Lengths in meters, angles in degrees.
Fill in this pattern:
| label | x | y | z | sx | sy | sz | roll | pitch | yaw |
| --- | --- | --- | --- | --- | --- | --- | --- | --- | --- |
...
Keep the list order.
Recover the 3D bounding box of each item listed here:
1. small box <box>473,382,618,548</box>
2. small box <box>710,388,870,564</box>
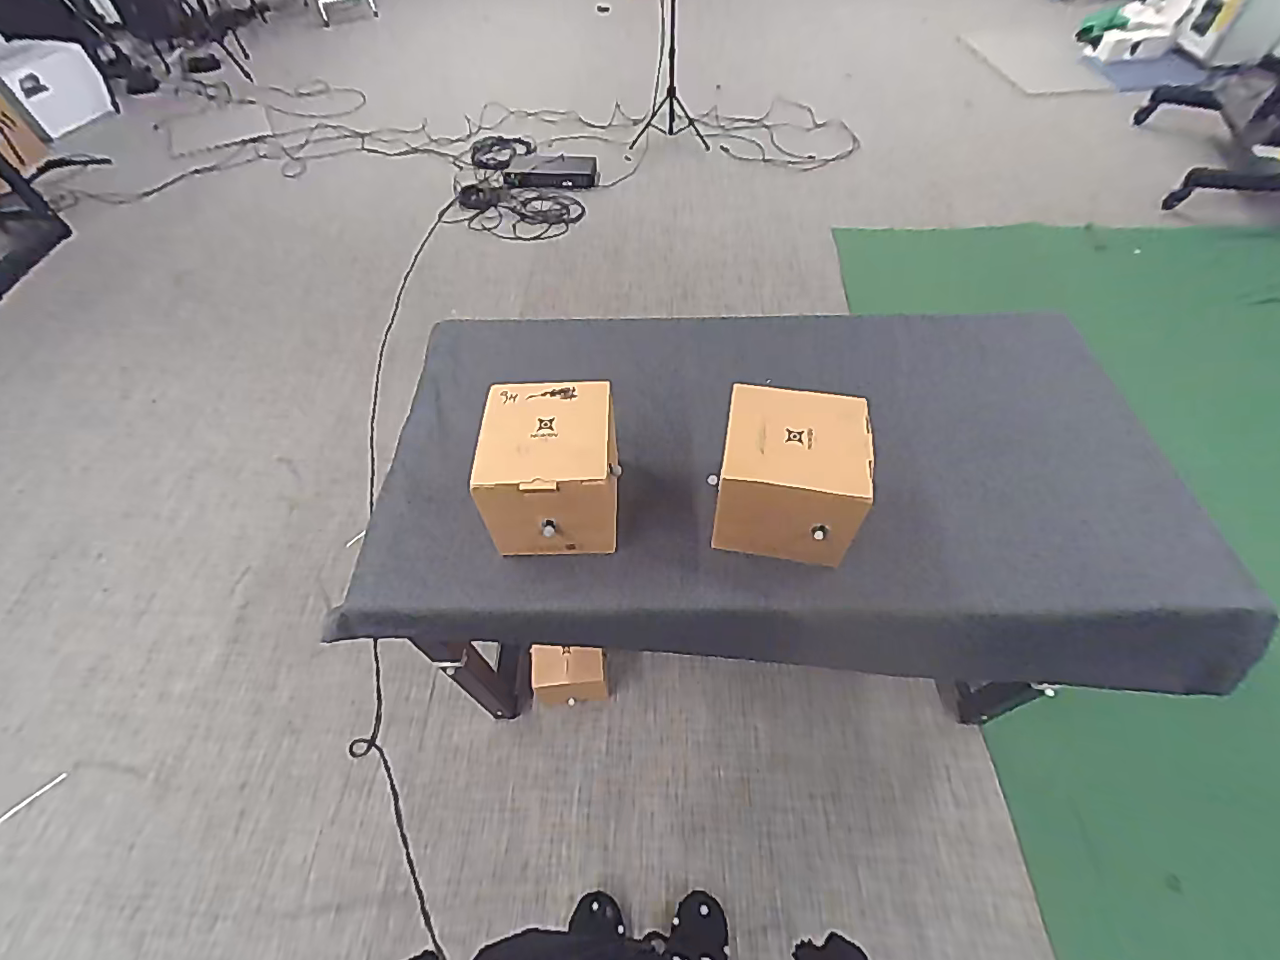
| label | x | y | z | sx | sy | sz | roll | pitch | yaw |
| --- | --- | --- | --- | --- | --- | --- | --- | --- | --- |
| small box | -0.118 | -0.016 | 0.757 | 0.168 | 0.176 | 0.179 | 0 | 54 | 1 |
| small box | 0.198 | 0.000 | 0.742 | 0.179 | 0.176 | 0.168 | 8 | 54 | 8 |
